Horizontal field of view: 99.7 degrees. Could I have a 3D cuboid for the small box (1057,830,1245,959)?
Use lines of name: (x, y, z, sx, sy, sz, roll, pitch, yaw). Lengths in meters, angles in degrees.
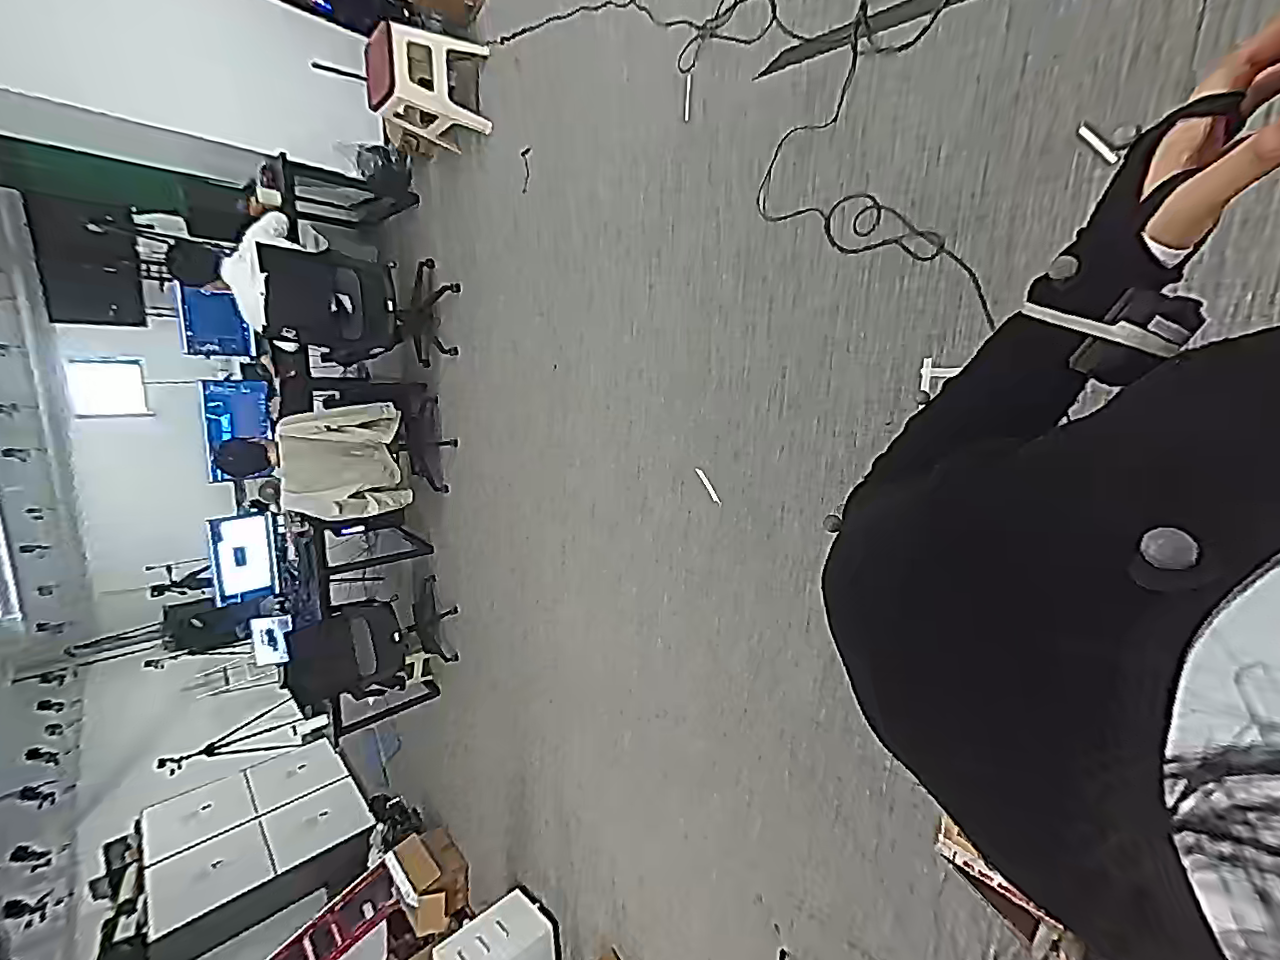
small box: (0.712, 0.654, 0.761, 0.168, 0.176, 0.179, 15, 105, 42)
